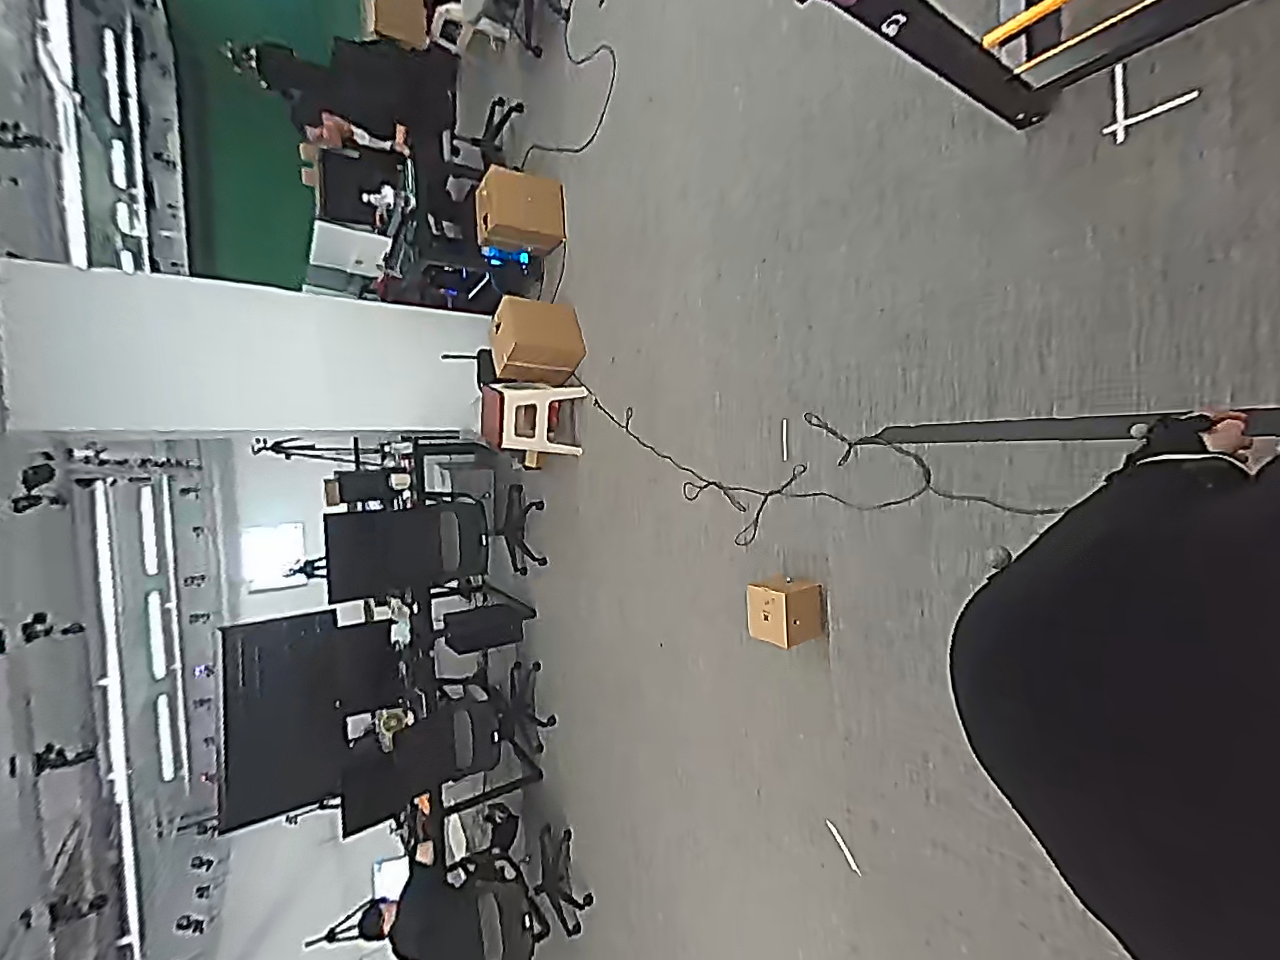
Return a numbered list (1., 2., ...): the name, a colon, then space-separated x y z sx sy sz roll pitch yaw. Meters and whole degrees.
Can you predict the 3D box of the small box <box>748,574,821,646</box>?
1. small box: 0.473 0.416 1.761 0.168 0.176 0.179 2 96 55
